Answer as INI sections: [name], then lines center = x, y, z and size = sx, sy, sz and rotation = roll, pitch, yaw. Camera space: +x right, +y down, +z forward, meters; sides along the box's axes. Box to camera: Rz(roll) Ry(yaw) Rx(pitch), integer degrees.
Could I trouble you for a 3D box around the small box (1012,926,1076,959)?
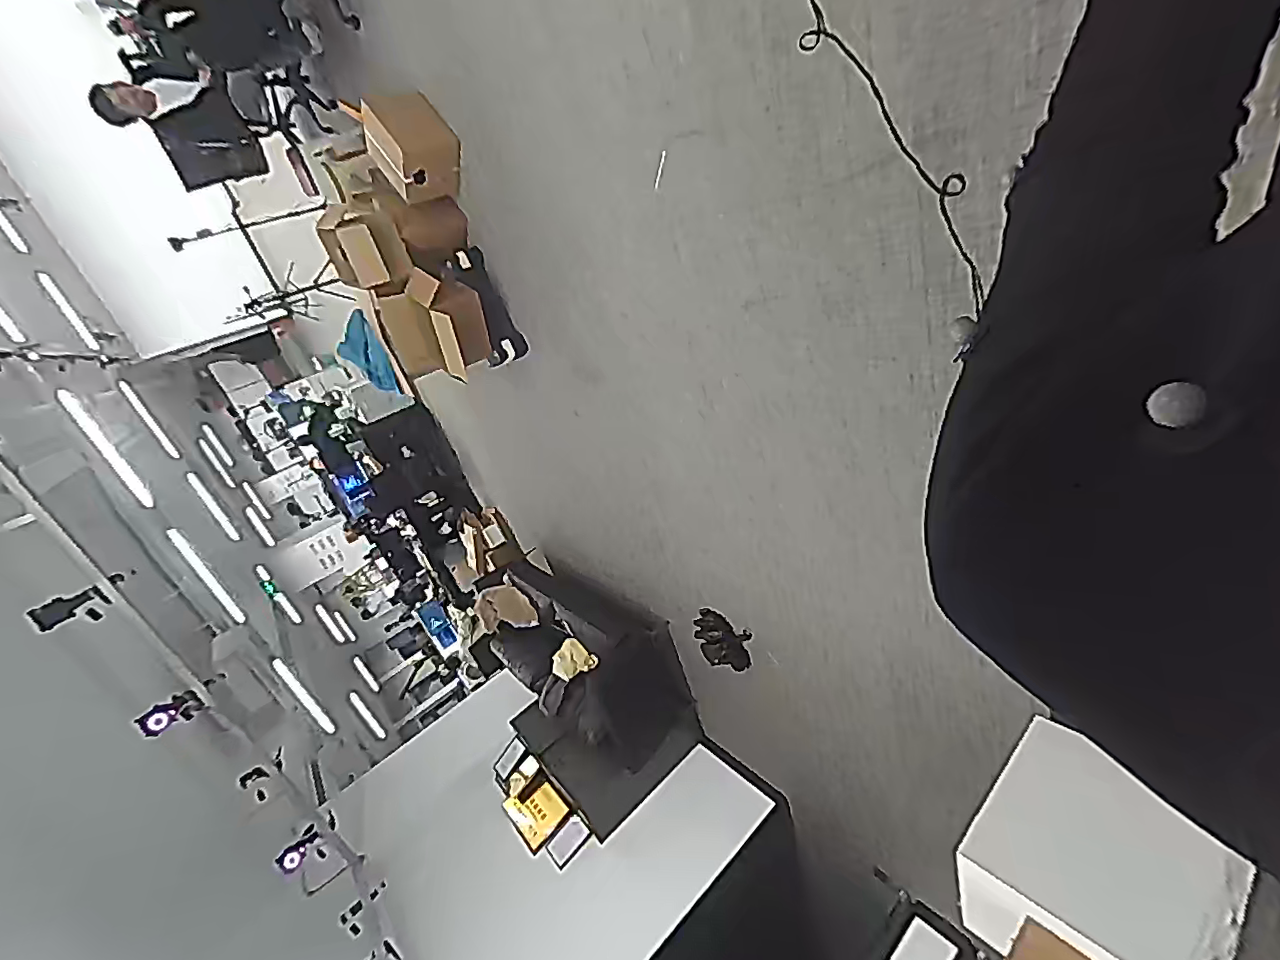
[small box]
center = 1.007, 1.253, 1.311
size = 0.179, 0.176, 0.168
rotation = 19, 134, 51
